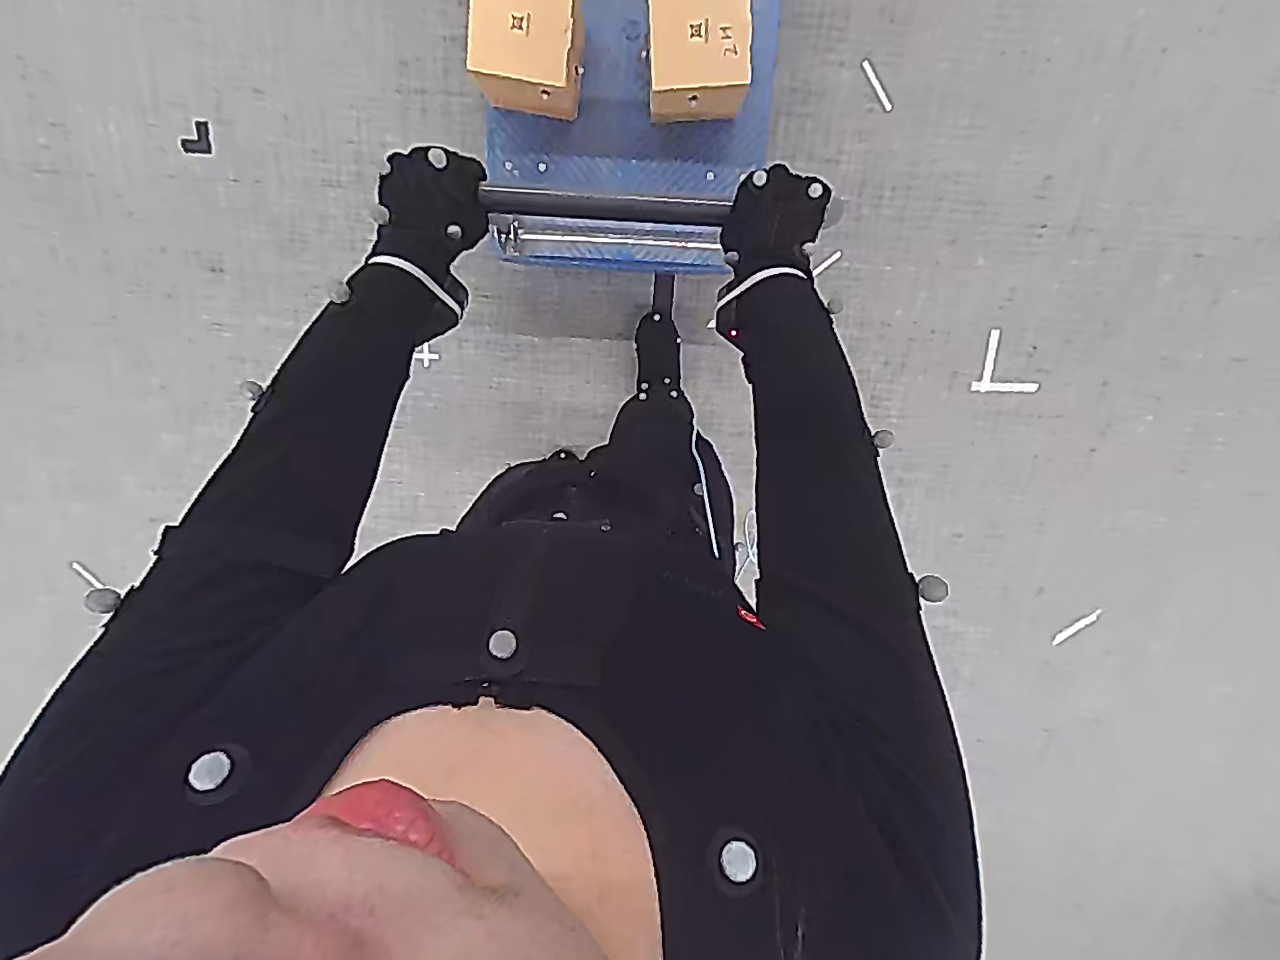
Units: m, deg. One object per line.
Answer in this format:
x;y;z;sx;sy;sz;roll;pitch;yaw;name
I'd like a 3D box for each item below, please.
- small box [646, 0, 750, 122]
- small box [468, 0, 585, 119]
0.103;-0.785;1.002;0.179;0.176;0.168;-2;107;1;small box
-0.204;-0.798;1.000;0.179;0.176;0.168;8;106;-4;small box
